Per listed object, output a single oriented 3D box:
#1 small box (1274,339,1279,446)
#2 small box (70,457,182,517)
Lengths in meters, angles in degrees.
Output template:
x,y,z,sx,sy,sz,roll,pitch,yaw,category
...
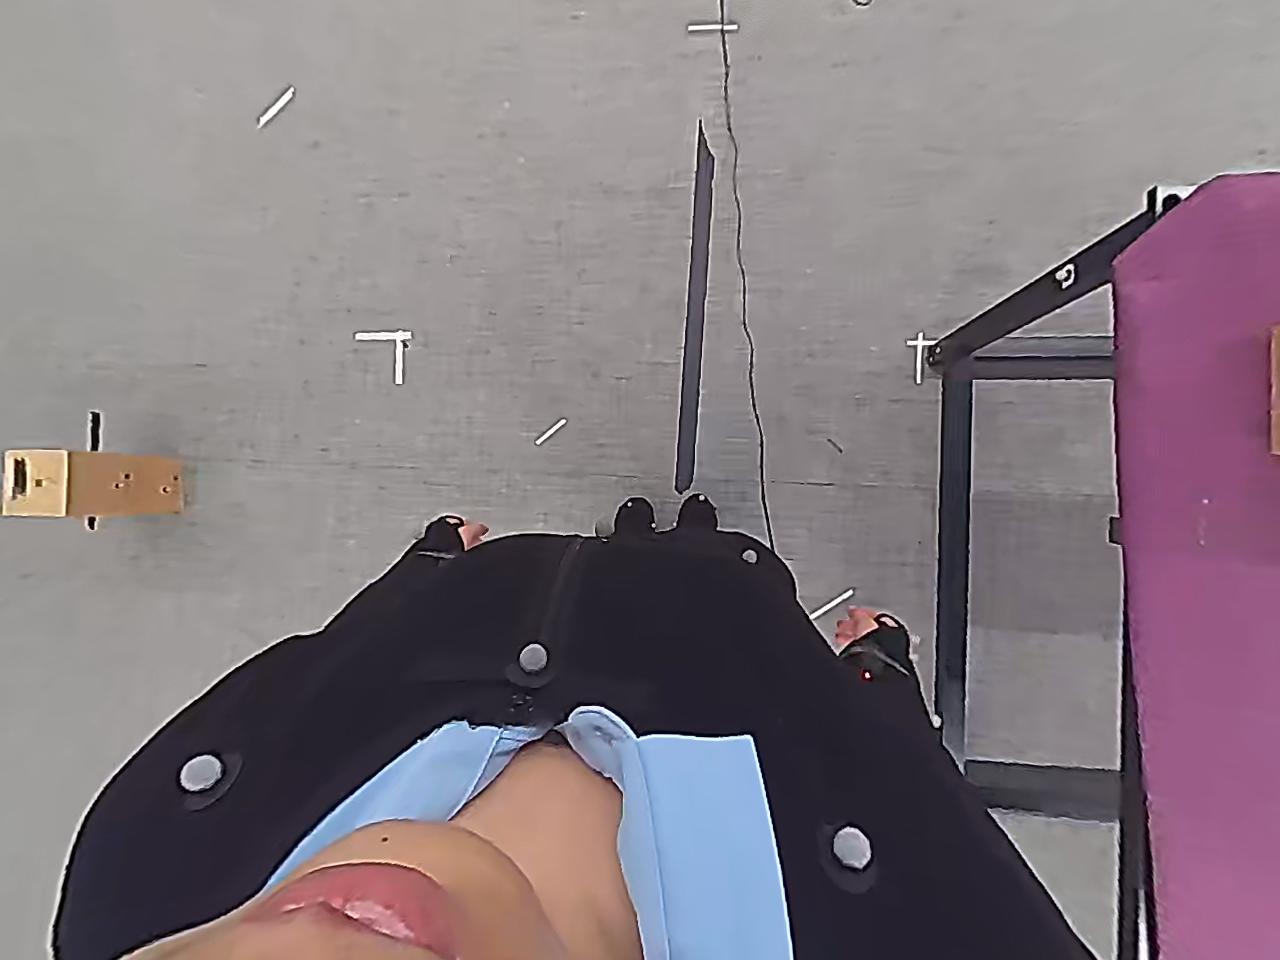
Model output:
x,y,z,sx,sy,sz,roll,pitch,yaw,category
0.891,-0.113,0.601,0.179,0.176,0.168,0,90,6,small box
-1.489,0.023,1.572,0.179,0.176,0.168,-3,89,5,small box
